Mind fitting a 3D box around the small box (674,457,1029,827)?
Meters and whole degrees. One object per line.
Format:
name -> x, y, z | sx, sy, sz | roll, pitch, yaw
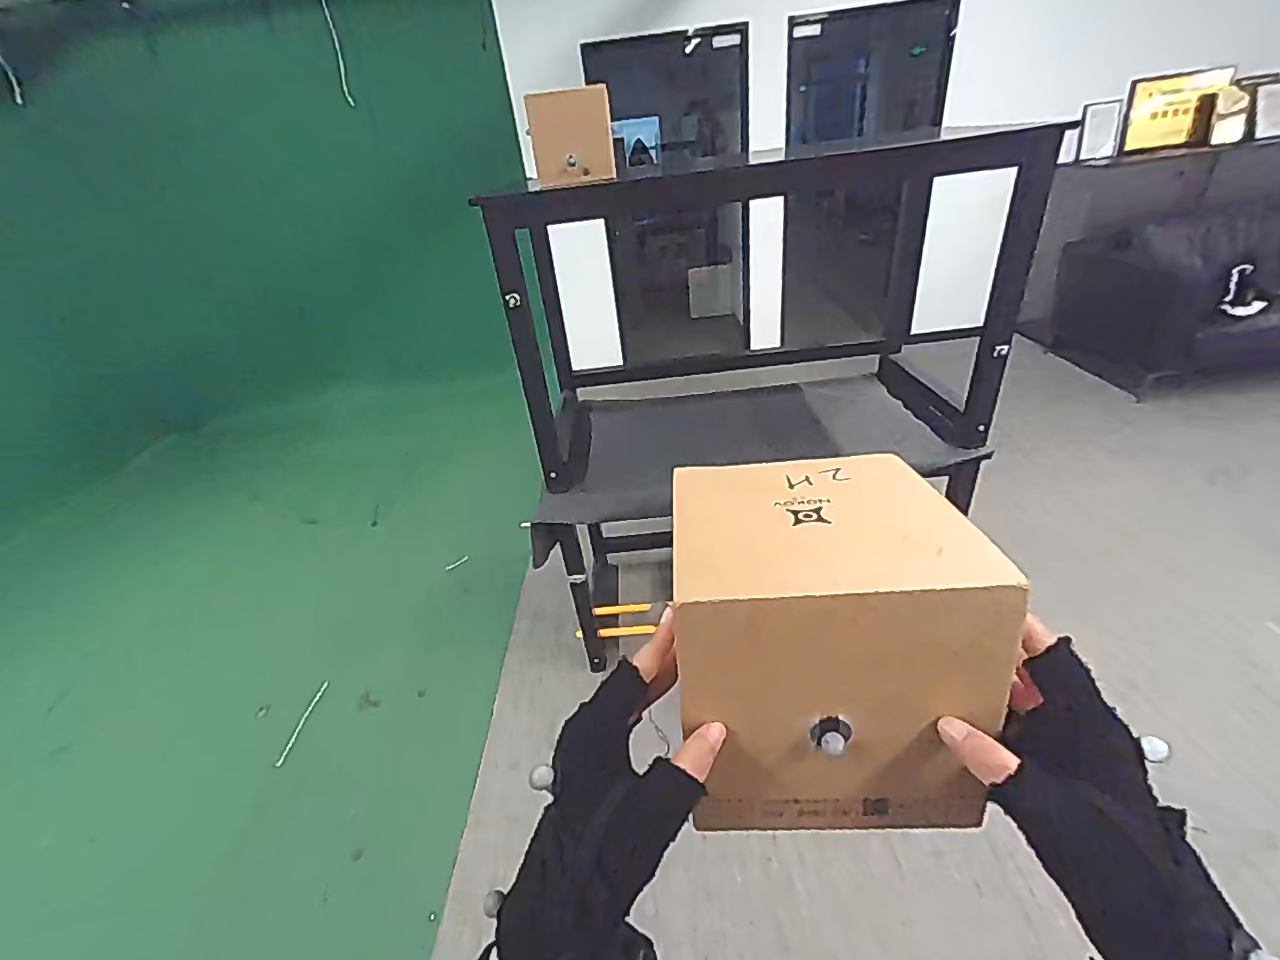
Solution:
small box -> 0.111, 0.097, 0.359 | 0.168, 0.176, 0.179 | -3, 22, 5
